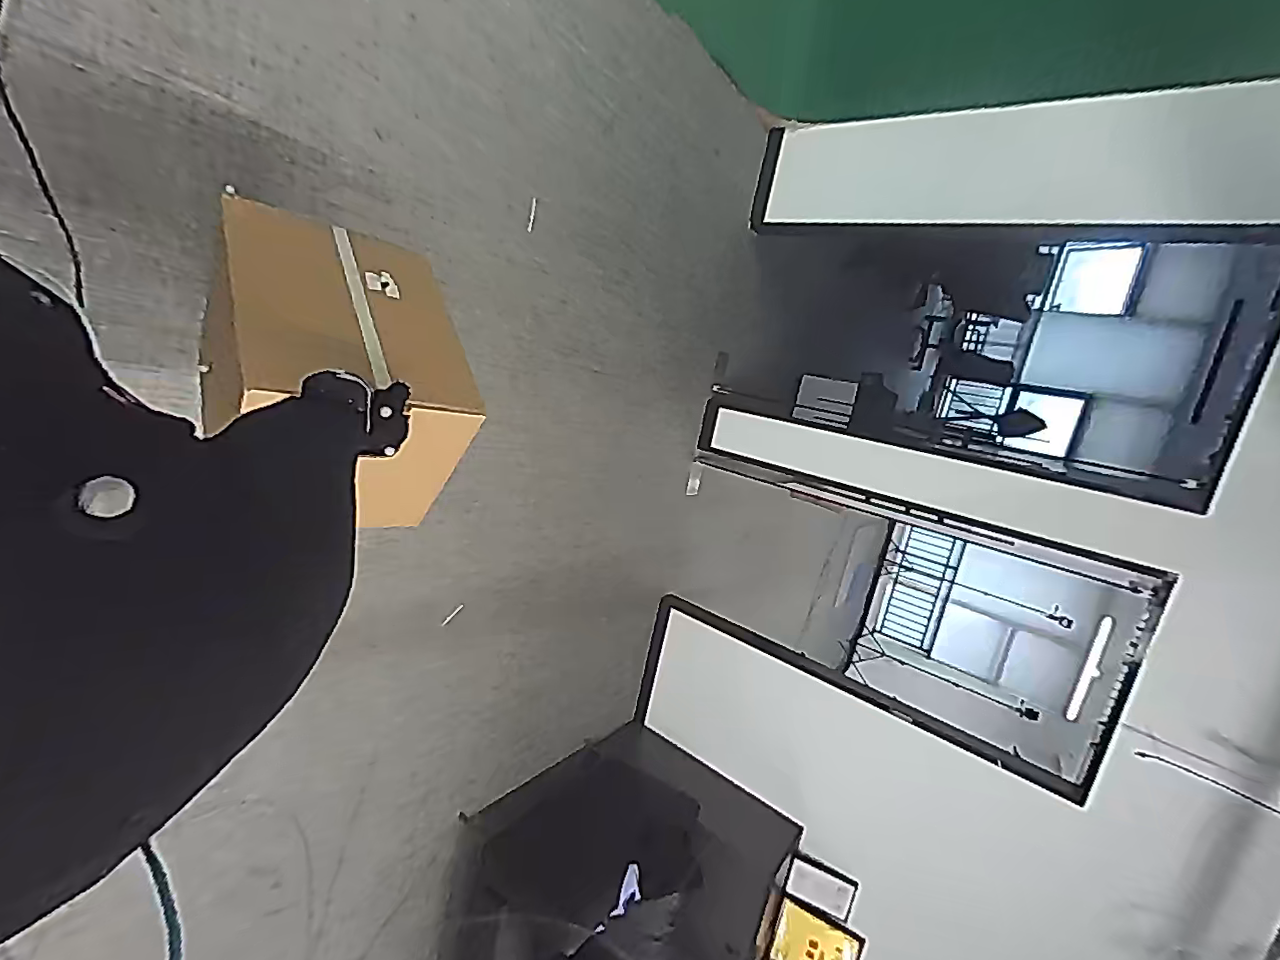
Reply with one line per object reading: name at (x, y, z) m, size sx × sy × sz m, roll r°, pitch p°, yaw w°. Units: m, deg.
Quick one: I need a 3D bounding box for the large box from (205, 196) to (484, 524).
large box at (-0.517, -0.178, 0.915) m, size 0.320 × 0.408 × 0.320 m, roll 2°, pitch 142°, yaw -45°
